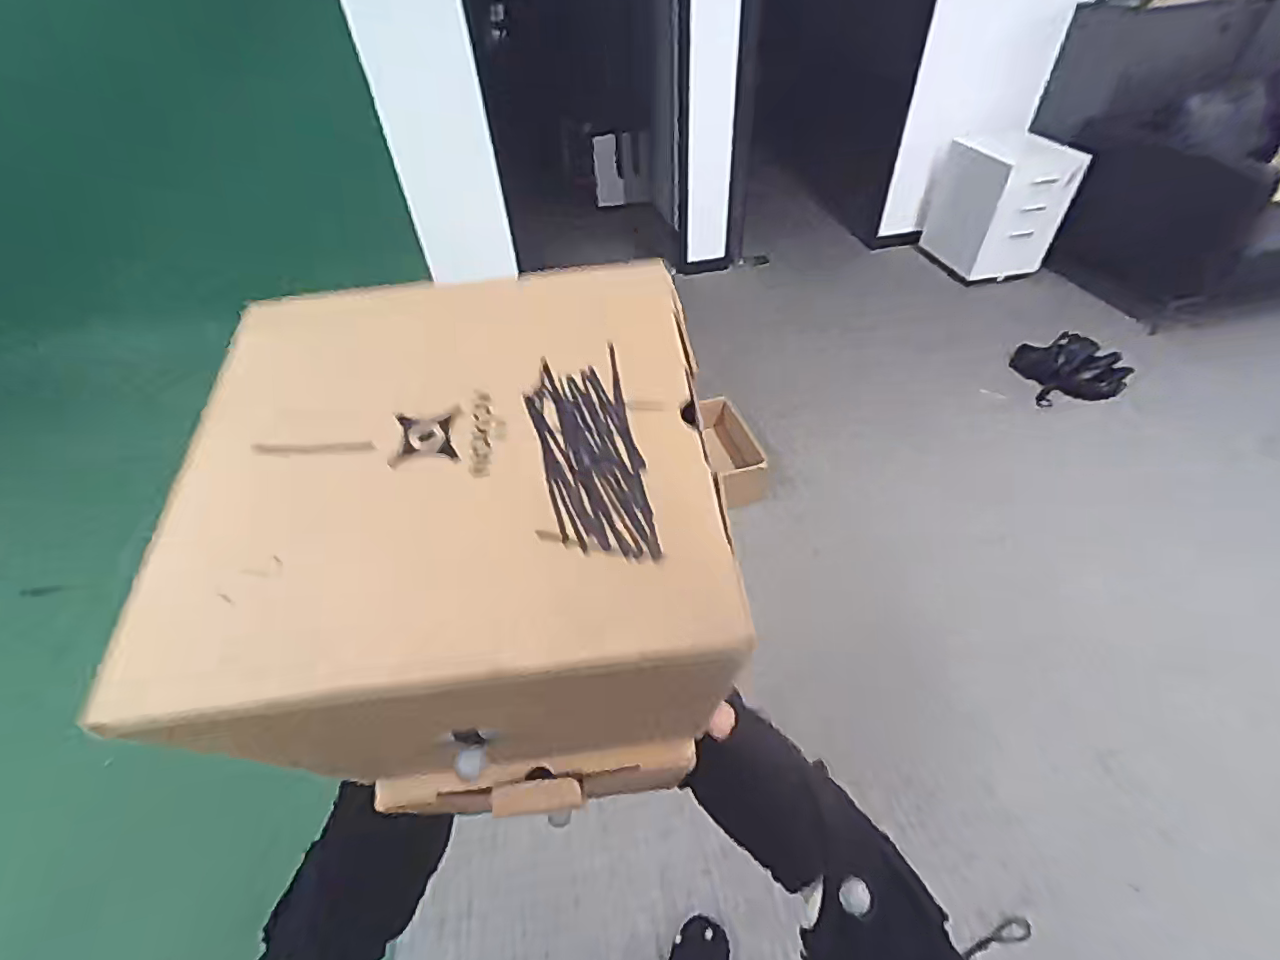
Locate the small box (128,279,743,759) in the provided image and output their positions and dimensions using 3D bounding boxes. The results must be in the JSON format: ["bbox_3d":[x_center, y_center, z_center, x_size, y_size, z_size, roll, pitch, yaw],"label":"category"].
[{"bbox_3d":[-0.061,0.030,0.262,0.179,0.176,0.168,-5,57,-2],"label":"small box"}]

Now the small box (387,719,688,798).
[{"bbox_3d":[-0.059,0.126,0.396,0.168,0.176,0.179,-5,58,-3],"label":"small box"}]
